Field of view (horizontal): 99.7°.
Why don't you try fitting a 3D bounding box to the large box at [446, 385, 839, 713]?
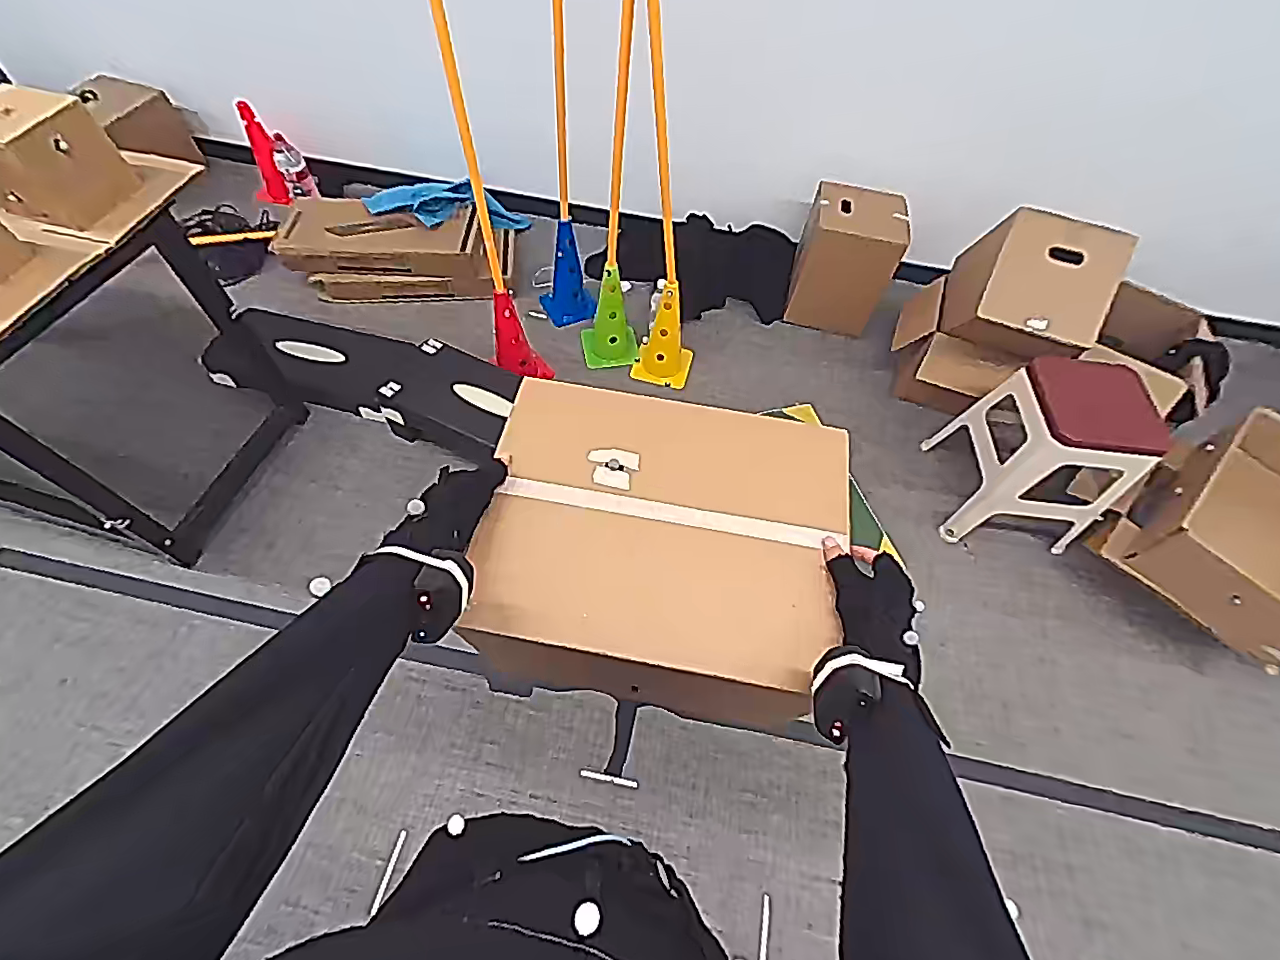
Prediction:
[{"bbox_3d":[0.022,0.110,0.736,0.408,0.320,0.320,10,61,5],"label":"large box"}]
